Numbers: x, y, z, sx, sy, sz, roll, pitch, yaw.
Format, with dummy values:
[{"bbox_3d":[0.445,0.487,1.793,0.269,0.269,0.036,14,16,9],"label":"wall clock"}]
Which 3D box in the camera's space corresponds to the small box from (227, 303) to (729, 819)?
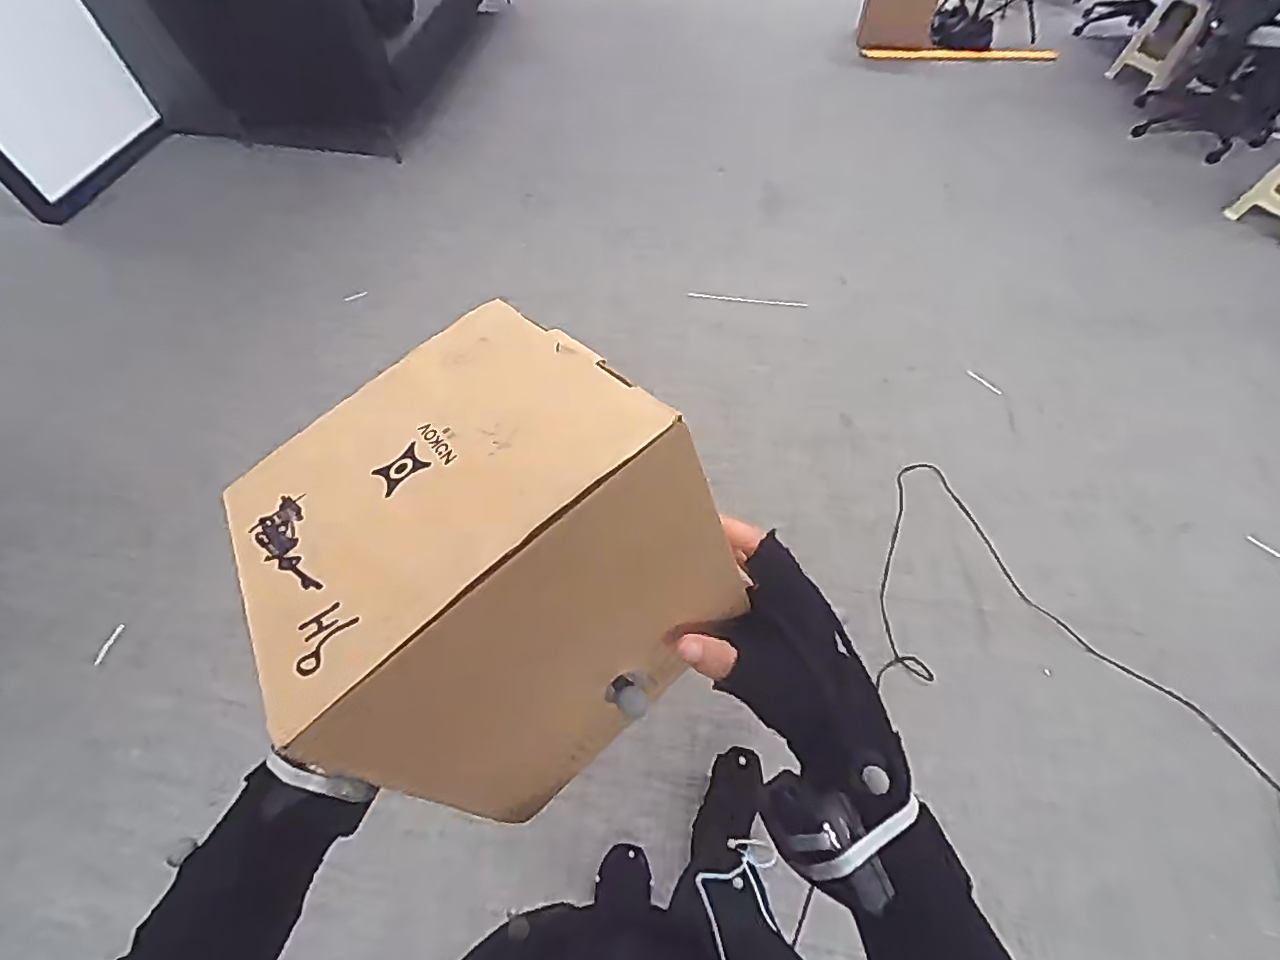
[{"bbox_3d":[-0.069,0.041,0.293,0.179,0.176,0.168,-39,48,-13],"label":"small box"}]
